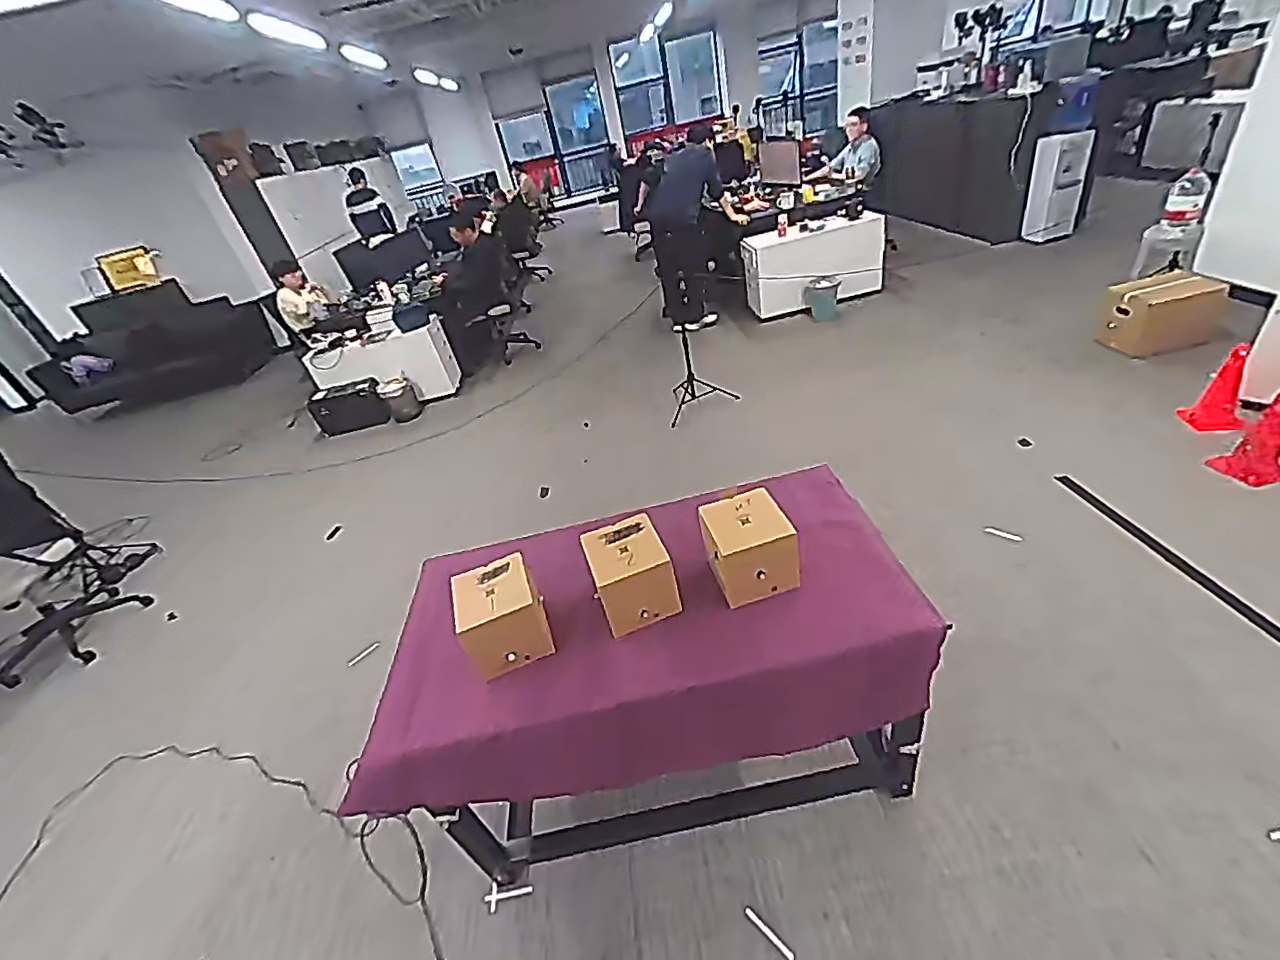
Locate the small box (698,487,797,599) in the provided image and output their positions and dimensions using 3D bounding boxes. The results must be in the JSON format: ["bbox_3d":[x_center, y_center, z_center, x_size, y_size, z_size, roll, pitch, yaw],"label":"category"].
[{"bbox_3d":[0.245,0.148,1.225,0.168,0.176,0.179,-17,34,-4],"label":"small box"}]

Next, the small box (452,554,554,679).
[{"bbox_3d":[-0.306,0.304,1.211,0.168,0.176,0.179,-22,36,-10],"label":"small box"}]
